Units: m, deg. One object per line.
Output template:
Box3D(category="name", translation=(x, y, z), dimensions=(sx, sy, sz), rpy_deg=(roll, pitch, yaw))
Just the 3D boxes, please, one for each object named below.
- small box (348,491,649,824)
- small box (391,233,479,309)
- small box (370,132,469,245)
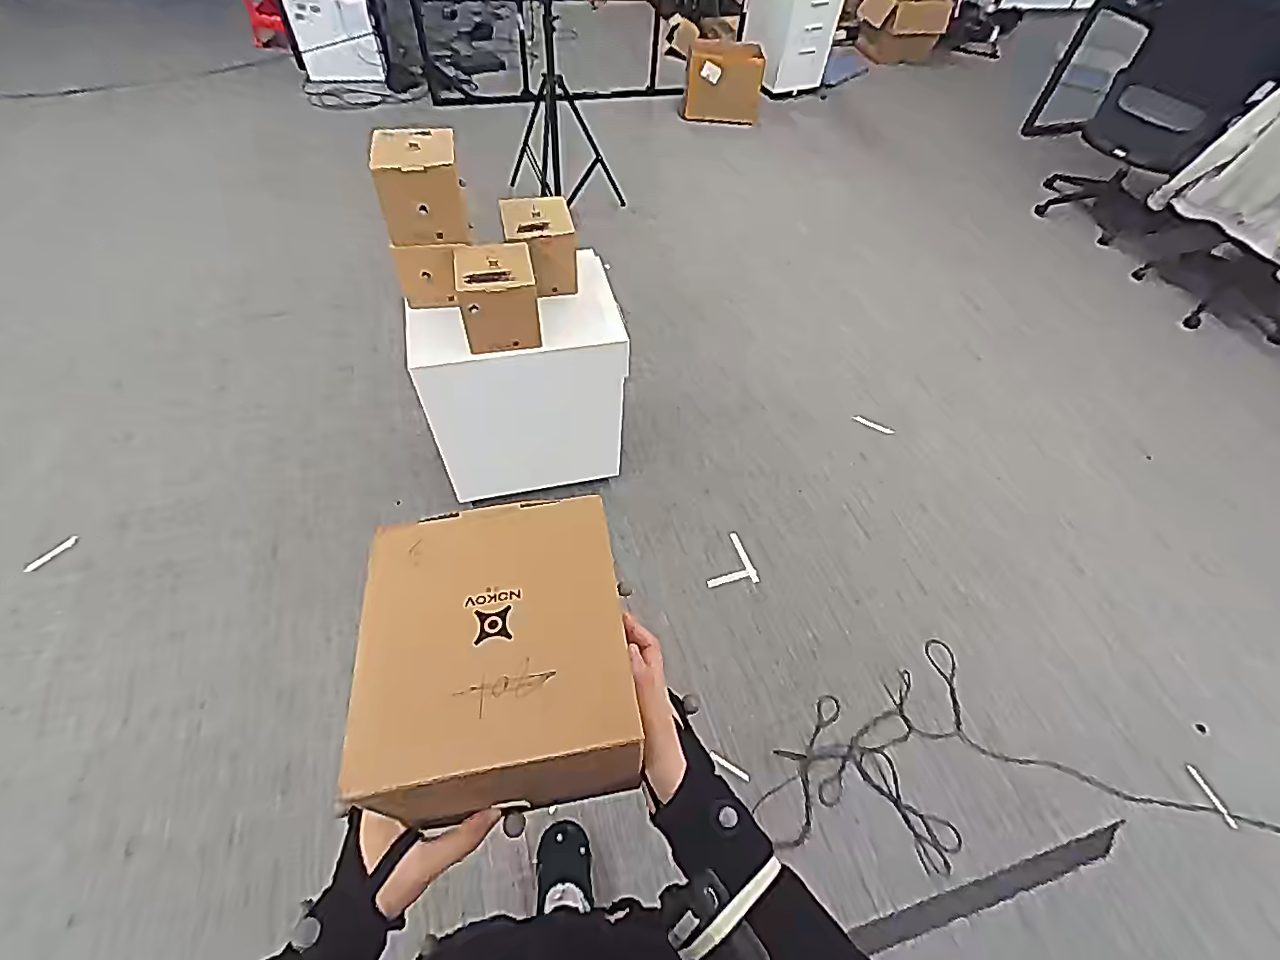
Box3D(category="small box", translation=(-0.091, 0.136, 0.409), dimensions=(0.168, 0.176, 0.179), rpy_deg=(-9, 53, -7))
Box3D(category="small box", translation=(-0.492, -0.534, 1.318), dimensions=(0.168, 0.176, 0.179), rpy_deg=(-7, 55, -10))
Box3D(category="small box", translation=(-0.476, -0.636, 1.191), dimensions=(0.168, 0.176, 0.179), rpy_deg=(-8, 56, -11))
